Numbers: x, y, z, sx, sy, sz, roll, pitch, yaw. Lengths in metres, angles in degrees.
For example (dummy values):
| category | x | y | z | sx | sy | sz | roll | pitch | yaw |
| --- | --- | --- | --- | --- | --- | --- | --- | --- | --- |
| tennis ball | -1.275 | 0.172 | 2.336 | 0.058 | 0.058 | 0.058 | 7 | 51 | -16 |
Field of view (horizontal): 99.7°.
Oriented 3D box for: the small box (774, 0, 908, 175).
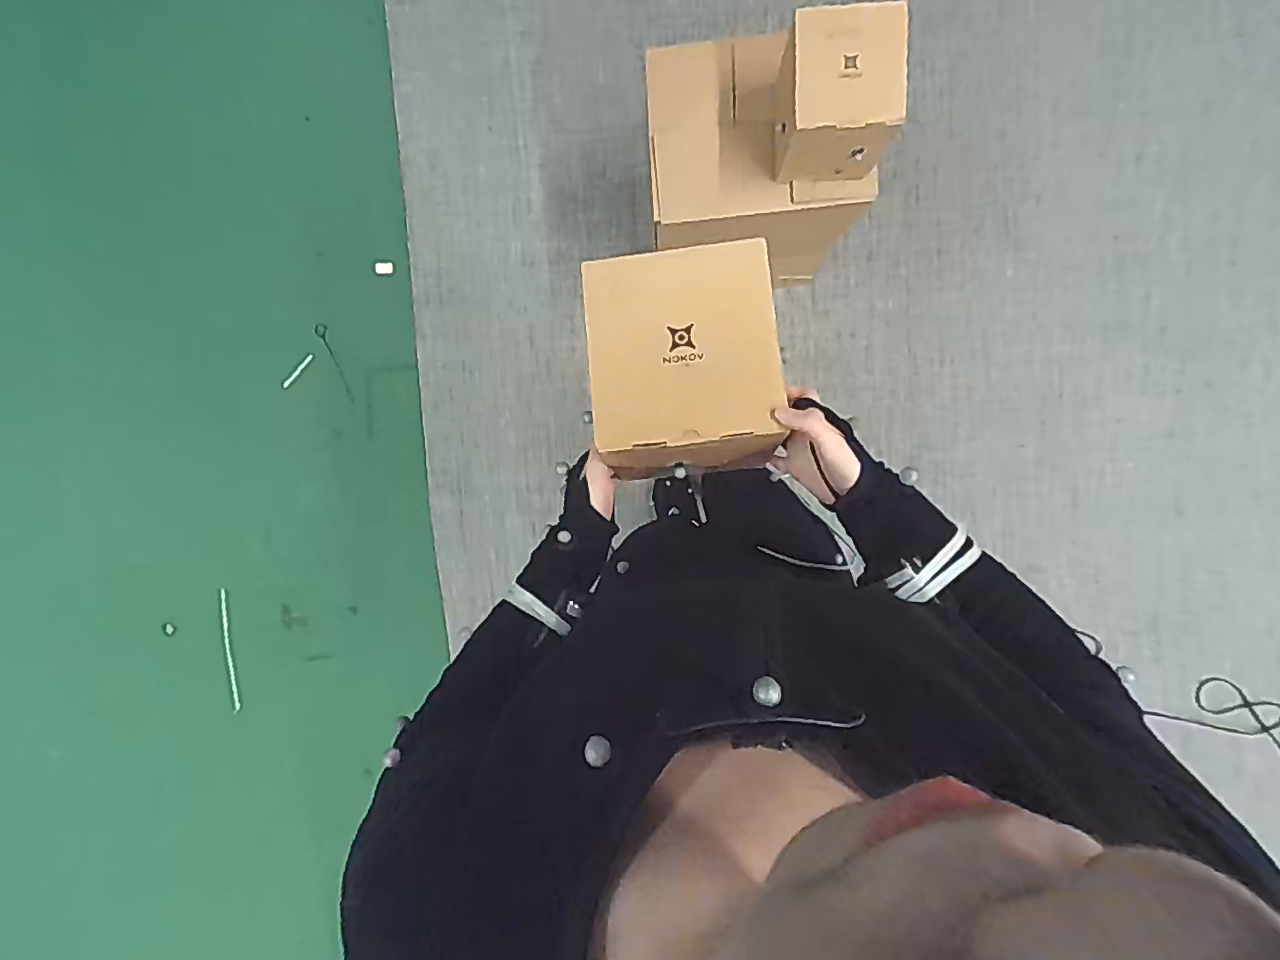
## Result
| category | x | y | z | sx | sy | sz | roll | pitch | yaw |
| --- | --- | --- | --- | --- | --- | --- | --- | --- | --- |
| small box | 0.318 | -0.622 | 0.883 | 0.168 | 0.176 | 0.179 | -1 | 93 | 4 |

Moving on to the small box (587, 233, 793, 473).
| category | x | y | z | sx | sy | sz | roll | pitch | yaw |
| --- | --- | --- | --- | --- | --- | --- | --- | --- | --- |
| small box | 0.046 | -0.112 | 0.544 | 0.168 | 0.176 | 0.179 | -7 | 81 | 5 |
